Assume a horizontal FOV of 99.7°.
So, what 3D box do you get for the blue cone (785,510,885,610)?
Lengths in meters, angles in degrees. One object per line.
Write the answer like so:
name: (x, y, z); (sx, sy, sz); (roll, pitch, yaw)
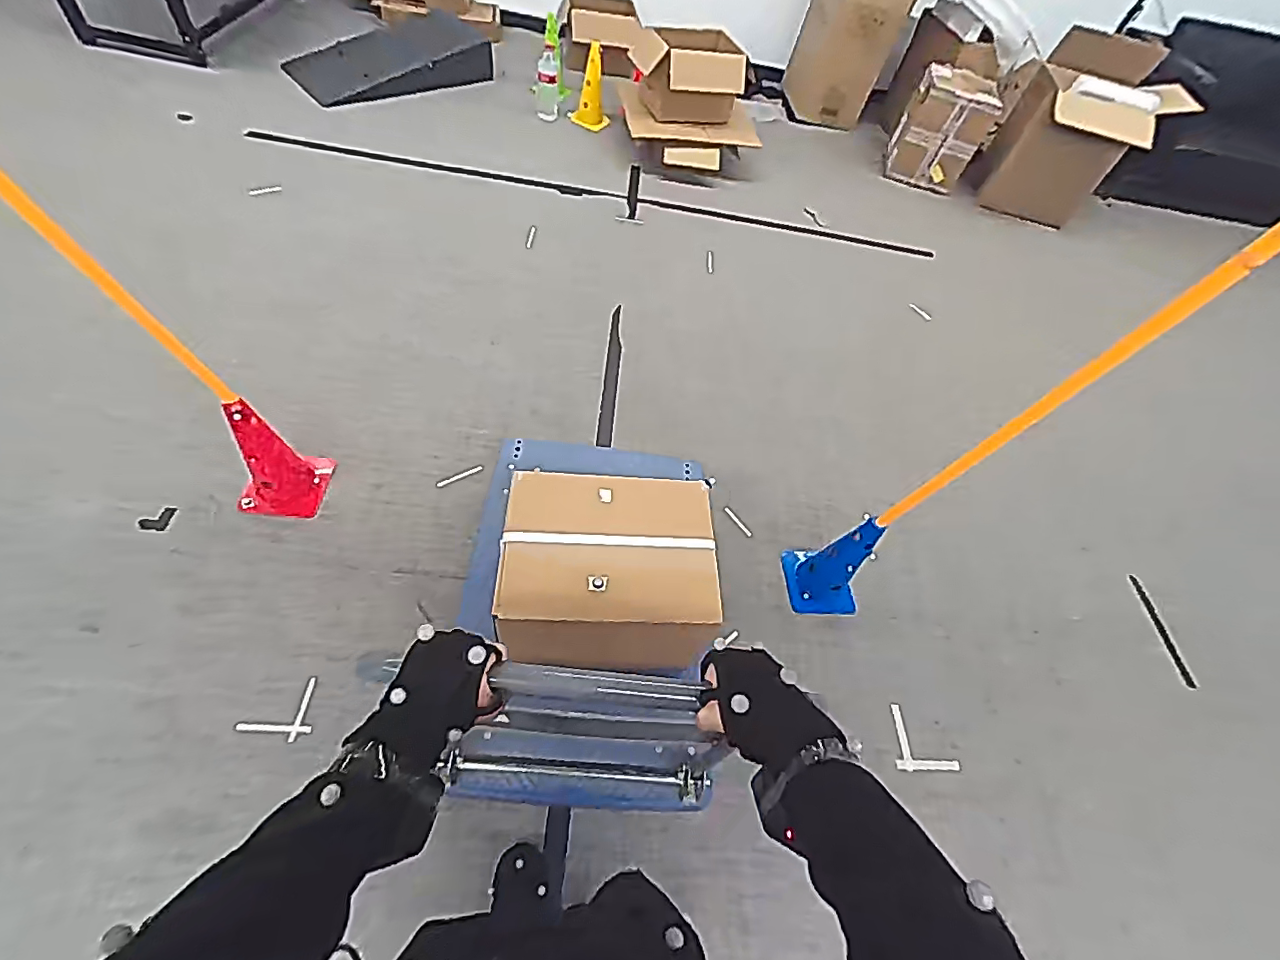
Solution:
blue cone: (0.564, 0.204, 1.483); (0.193, 0.380, 0.192); (4, 54, -9)
